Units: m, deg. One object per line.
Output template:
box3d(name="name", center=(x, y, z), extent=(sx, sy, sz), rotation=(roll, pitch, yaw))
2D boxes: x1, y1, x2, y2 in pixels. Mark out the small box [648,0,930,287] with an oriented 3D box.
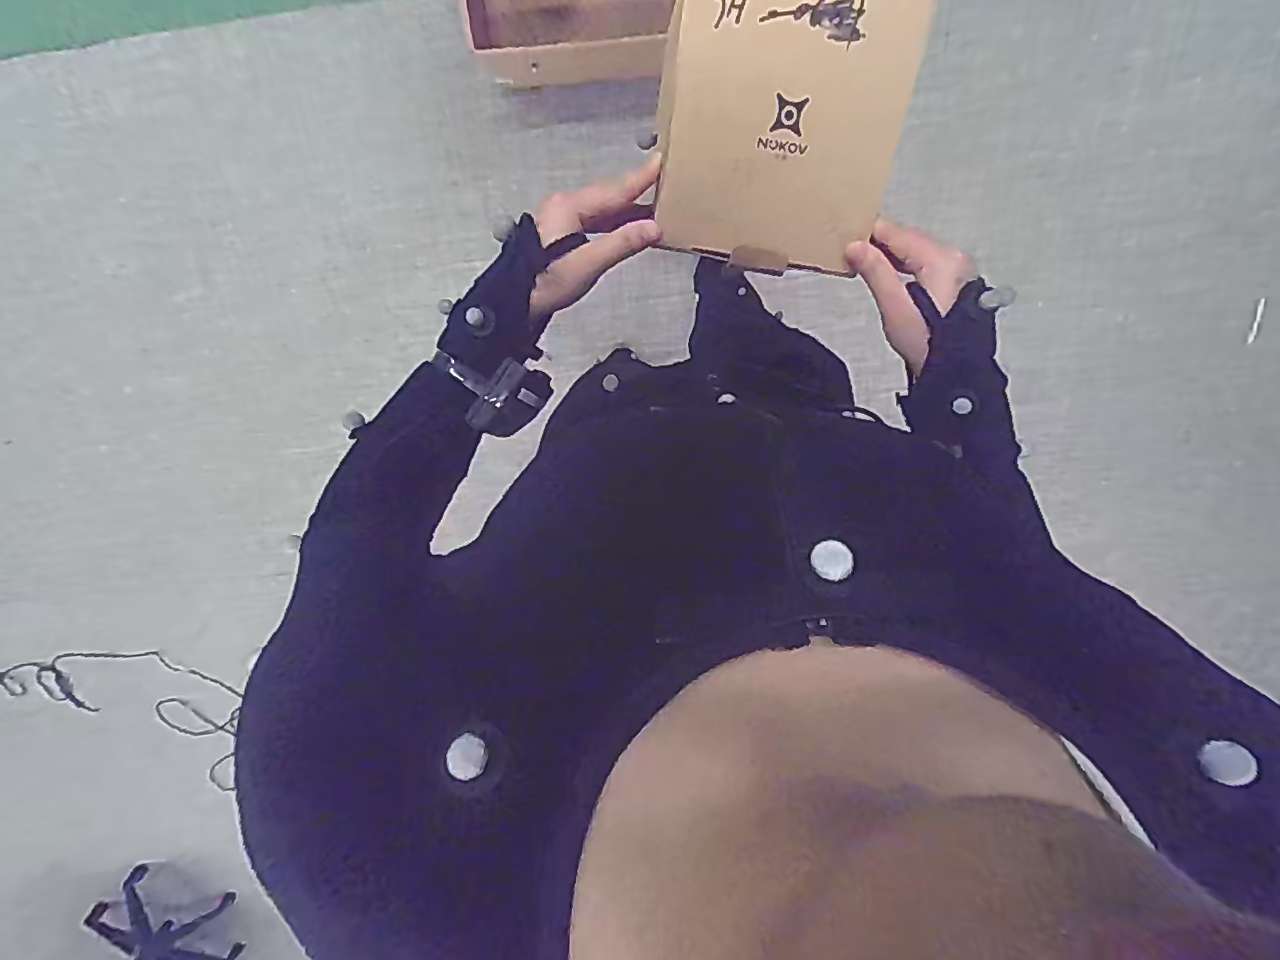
box3d(name="small box", center=(0.099, -0.273, 0.458), extent=(0.168, 0.176, 0.179), rotation=(6, 114, -5))
